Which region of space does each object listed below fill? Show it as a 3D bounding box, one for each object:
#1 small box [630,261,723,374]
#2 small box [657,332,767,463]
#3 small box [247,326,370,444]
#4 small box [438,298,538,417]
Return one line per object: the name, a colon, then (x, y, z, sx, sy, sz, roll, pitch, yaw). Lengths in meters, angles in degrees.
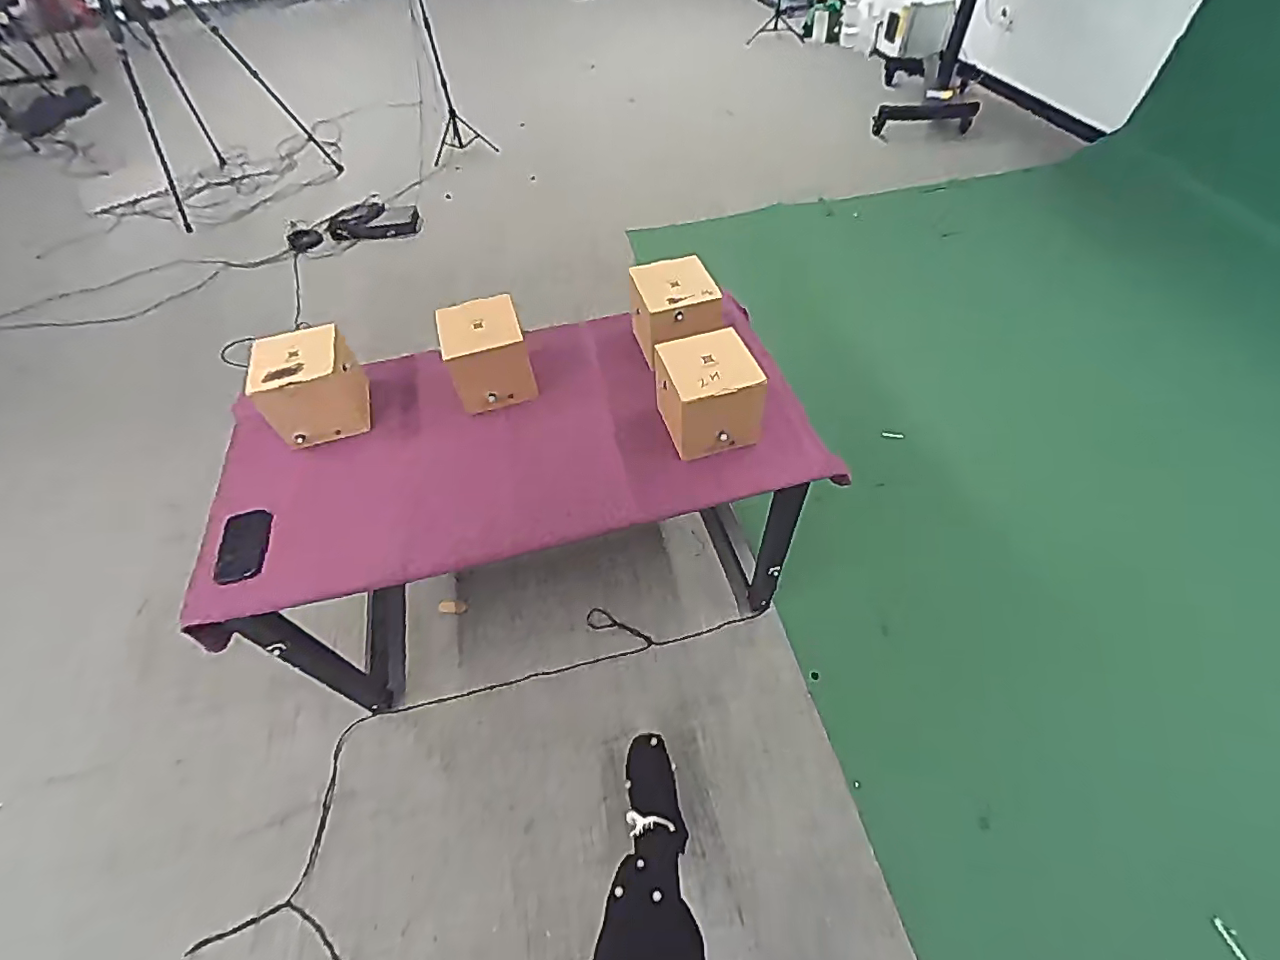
small box: (0.080, -0.373, 1.250, 0.168, 0.176, 0.179, -15, 53, -7)
small box: (0.135, -0.163, 1.081, 0.168, 0.176, 0.179, -14, 52, -6)
small box: (-0.694, -0.195, 1.153, 0.168, 0.176, 0.179, -15, 52, -9)
small box: (-0.334, -0.269, 1.194, 0.168, 0.176, 0.179, -16, 54, -8)
